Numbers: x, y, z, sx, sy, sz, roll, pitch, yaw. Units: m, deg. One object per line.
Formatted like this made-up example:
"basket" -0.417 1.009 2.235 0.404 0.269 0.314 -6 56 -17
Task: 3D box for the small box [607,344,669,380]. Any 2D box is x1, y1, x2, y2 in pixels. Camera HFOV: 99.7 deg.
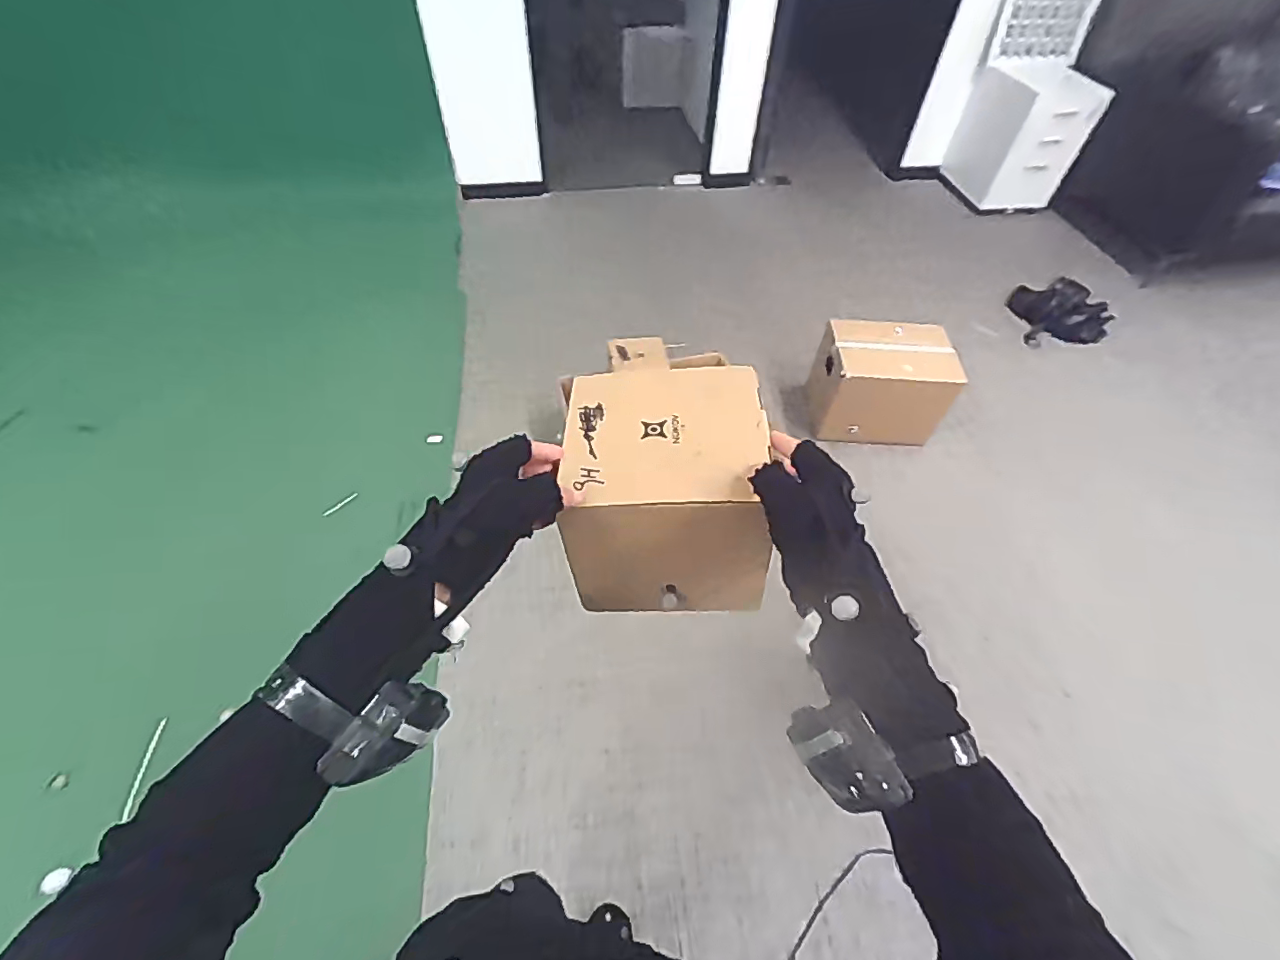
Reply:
"small box" -0.011 -0.316 1.736 0.179 0.176 0.168 -5 52 -9

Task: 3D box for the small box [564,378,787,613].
"small box" 0.034 0.017 0.530 0.179 0.176 0.168 -1 46 4
